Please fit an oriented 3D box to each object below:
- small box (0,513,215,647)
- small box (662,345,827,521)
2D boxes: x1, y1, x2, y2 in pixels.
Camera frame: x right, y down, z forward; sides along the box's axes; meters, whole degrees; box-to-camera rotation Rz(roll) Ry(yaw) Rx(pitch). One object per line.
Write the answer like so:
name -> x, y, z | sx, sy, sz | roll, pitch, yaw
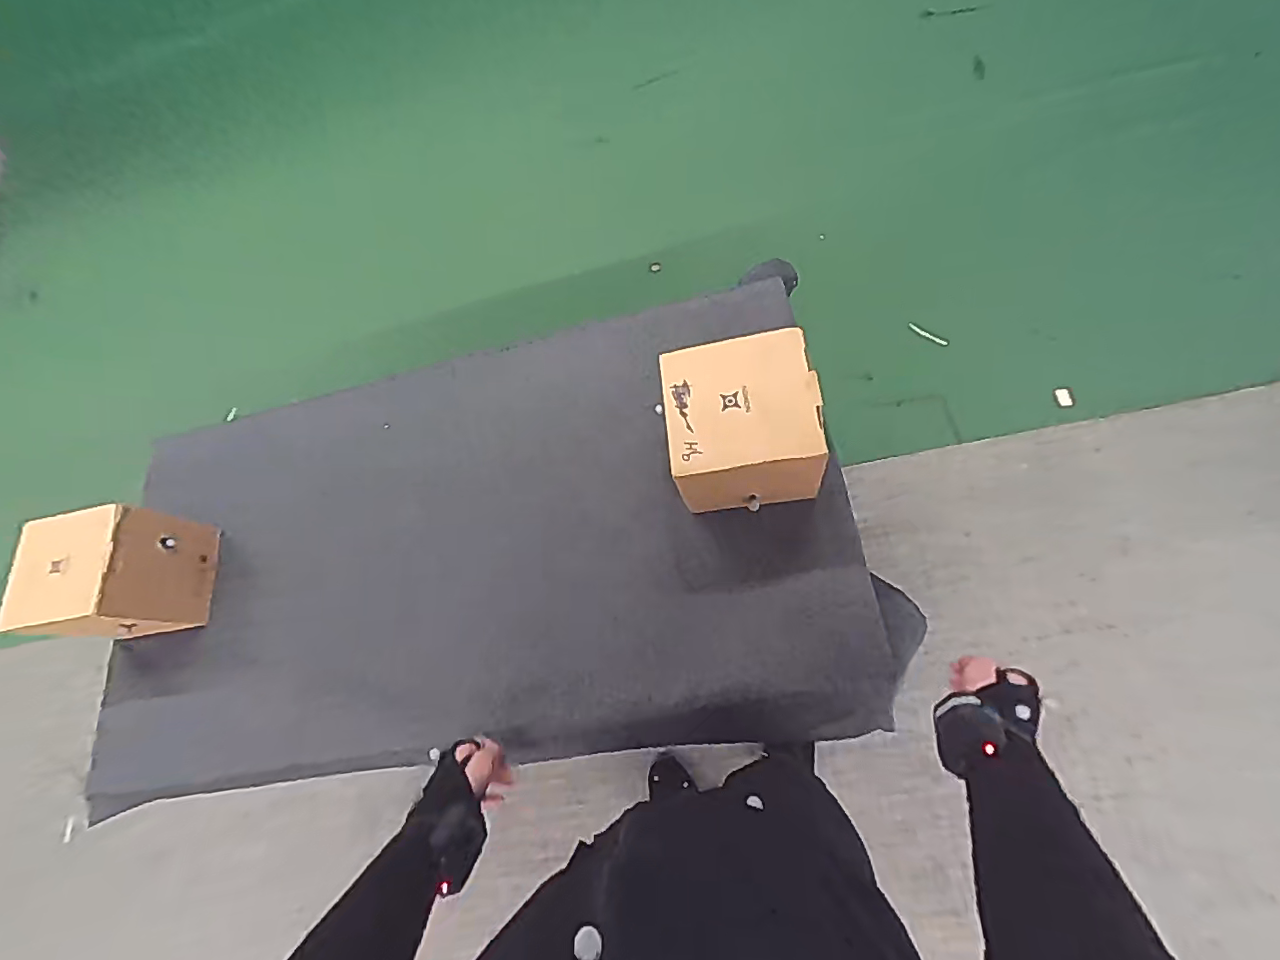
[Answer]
small box -> -0.815, 0.162, 0.838 | 0.179, 0.176, 0.168 | -9, 67, 9
small box -> 0.133, -0.051, 0.713 | 0.179, 0.176, 0.168 | -8, 70, 10
